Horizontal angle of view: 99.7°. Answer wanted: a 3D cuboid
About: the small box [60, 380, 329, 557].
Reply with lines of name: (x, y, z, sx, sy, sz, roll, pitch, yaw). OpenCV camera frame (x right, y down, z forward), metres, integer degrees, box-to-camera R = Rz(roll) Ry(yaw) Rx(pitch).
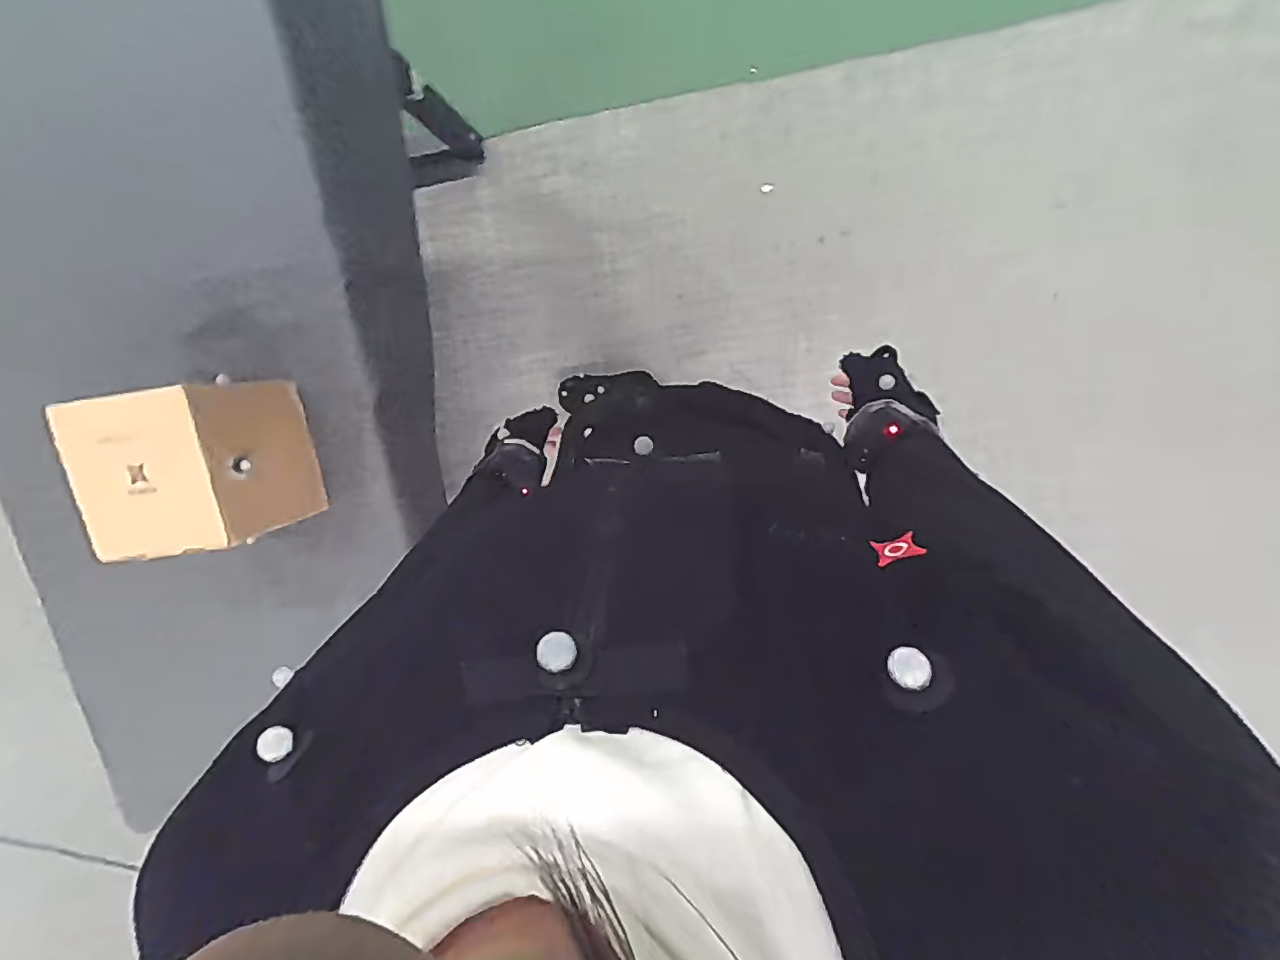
small box: (-0.520, -0.022, 0.662, 0.168, 0.176, 0.179, -8, 101, 7)
